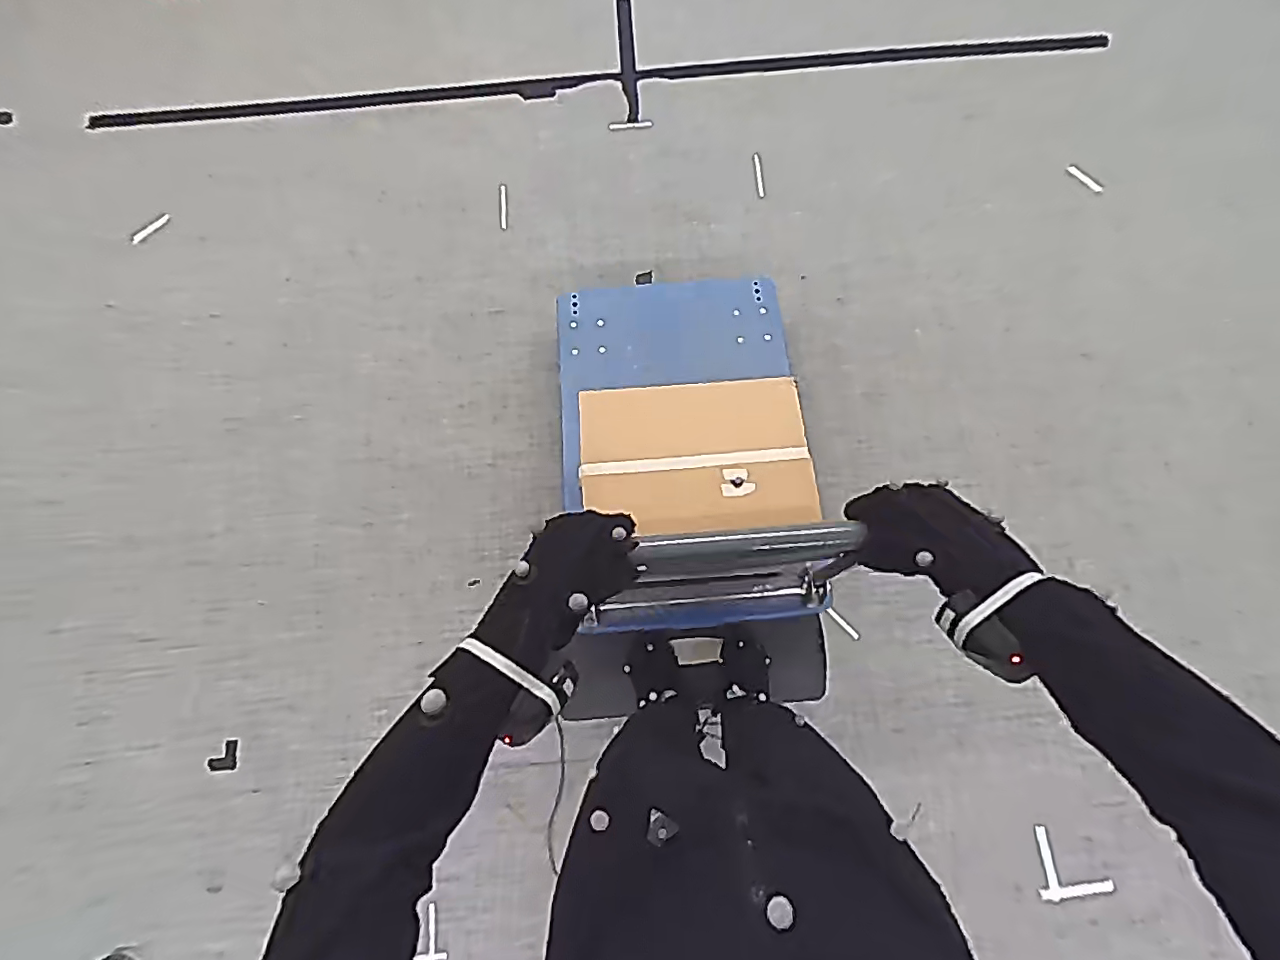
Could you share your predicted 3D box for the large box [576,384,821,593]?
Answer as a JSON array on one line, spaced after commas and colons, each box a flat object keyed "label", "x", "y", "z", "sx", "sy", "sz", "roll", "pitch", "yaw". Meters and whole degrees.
[{"label": "large box", "x": 0.091, "y": 0.033, "z": 1.081, "sx": 0.408, "sy": 0.320, "sz": 0.320, "roll": -4, "pitch": 71, "yaw": -2}]
